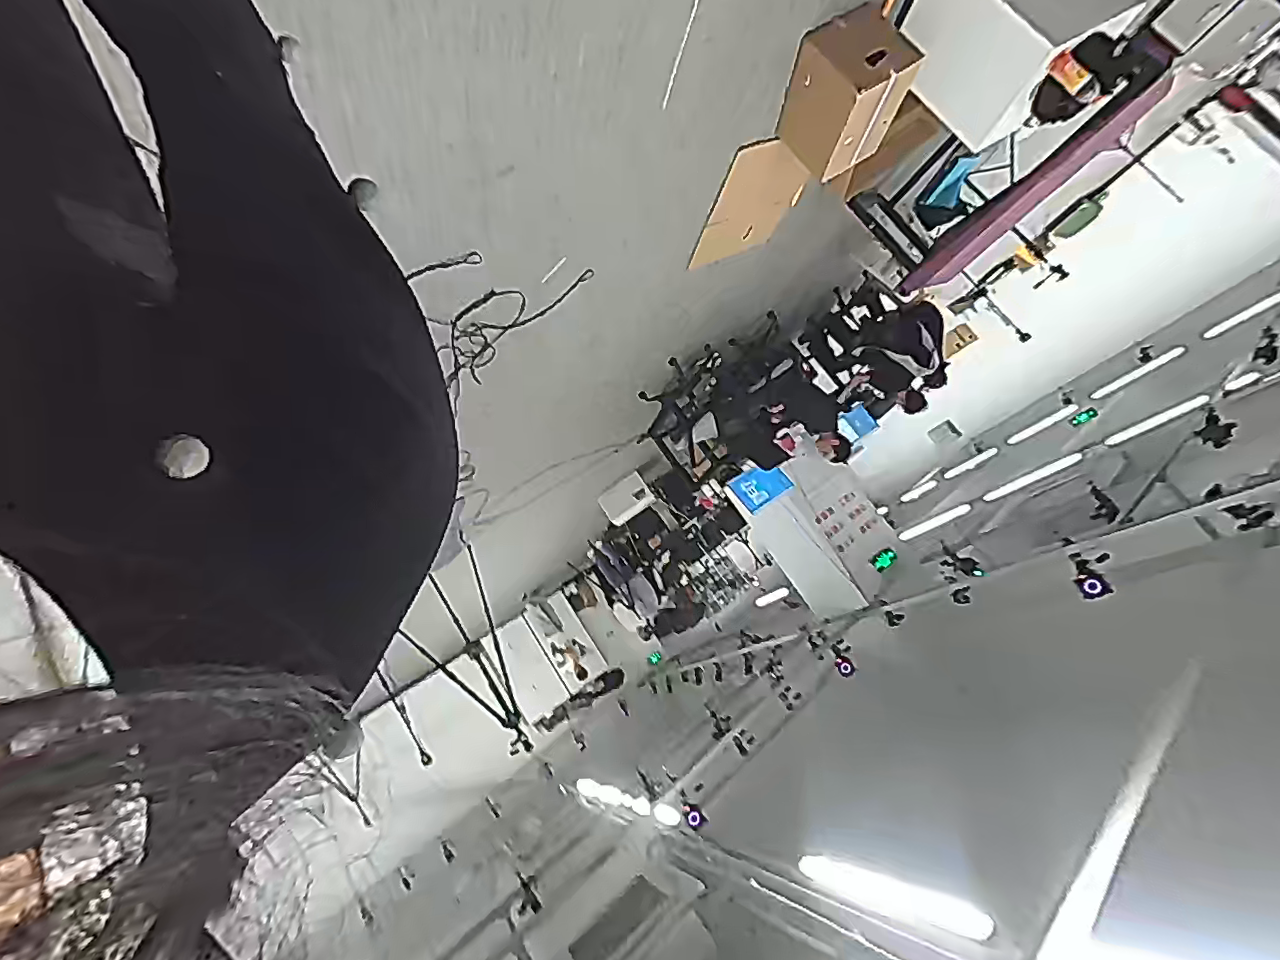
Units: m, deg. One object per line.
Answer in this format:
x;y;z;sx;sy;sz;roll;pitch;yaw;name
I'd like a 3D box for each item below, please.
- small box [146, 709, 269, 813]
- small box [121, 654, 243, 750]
-1.099;0.705;1.379;0.168;0.176;0.179;-30;169;-26;small box
-1.198;0.579;1.422;0.168;0.176;0.179;-30;168;-27;small box
